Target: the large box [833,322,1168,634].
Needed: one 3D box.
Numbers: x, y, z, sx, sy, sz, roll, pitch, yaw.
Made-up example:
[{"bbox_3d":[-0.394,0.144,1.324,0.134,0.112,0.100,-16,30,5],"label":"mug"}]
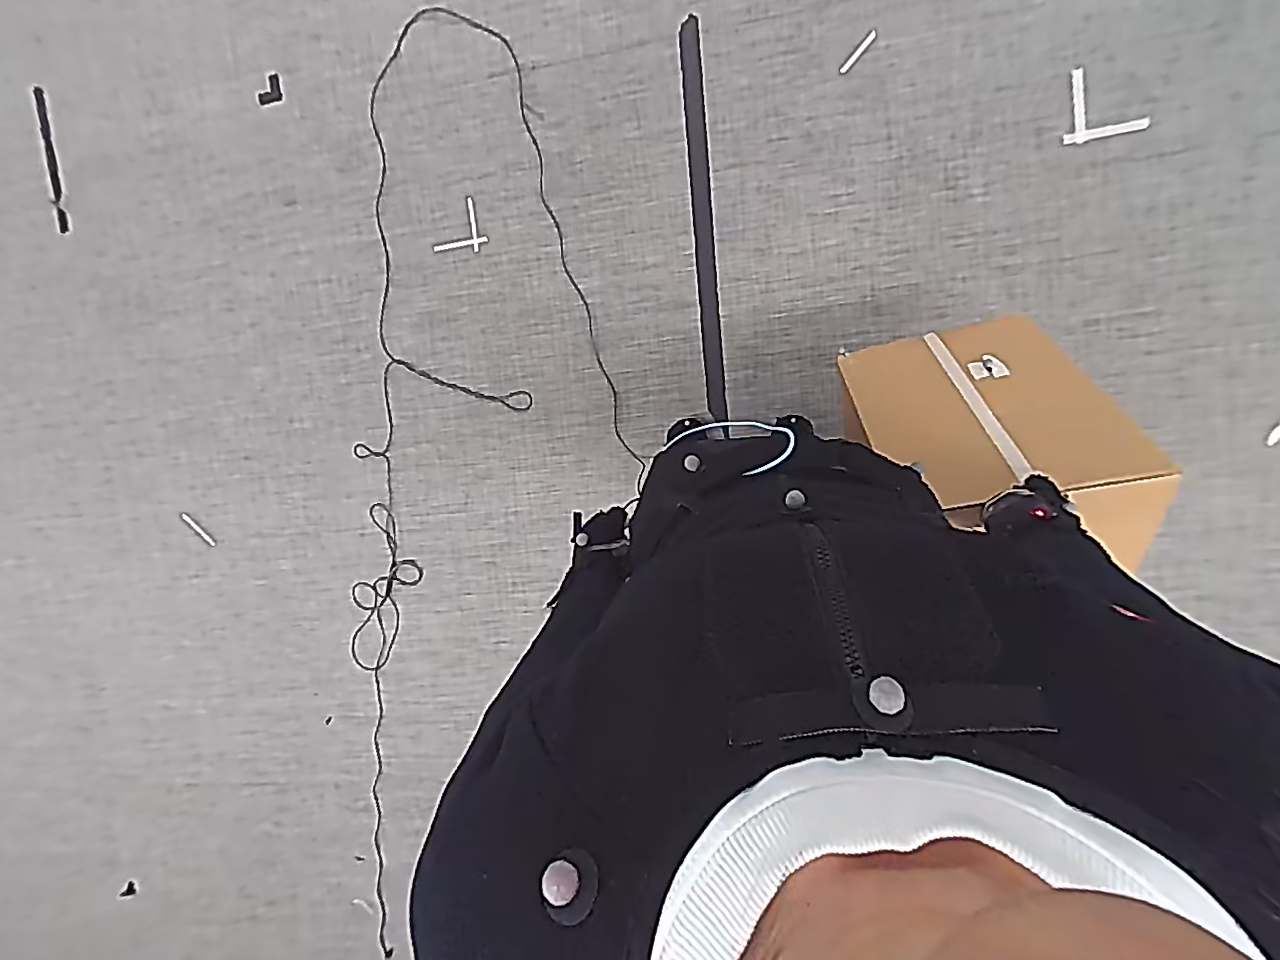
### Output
[{"bbox_3d":[0.544,-0.007,0.921,0.320,0.408,0.320,-11,131,12],"label":"large box"}]
